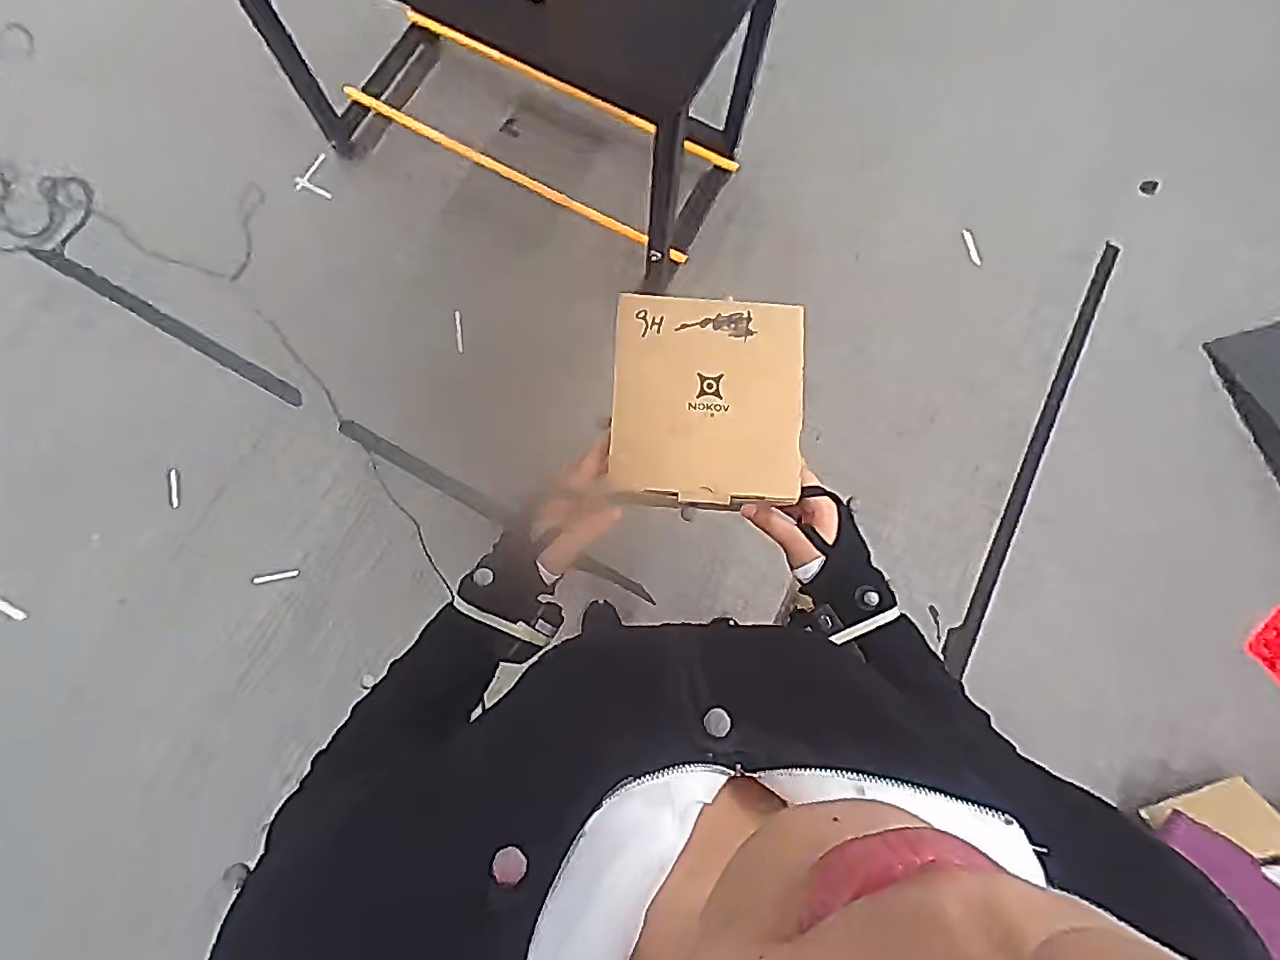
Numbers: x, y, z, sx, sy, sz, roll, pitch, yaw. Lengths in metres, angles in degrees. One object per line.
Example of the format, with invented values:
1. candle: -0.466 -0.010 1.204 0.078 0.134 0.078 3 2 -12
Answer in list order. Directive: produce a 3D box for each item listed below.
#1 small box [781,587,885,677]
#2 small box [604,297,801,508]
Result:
1. small box: 0.499 0.392 1.416 0.179 0.176 0.168 26 77 5
2. small box: 0.053 -0.062 0.541 0.168 0.176 0.179 2 85 -2
